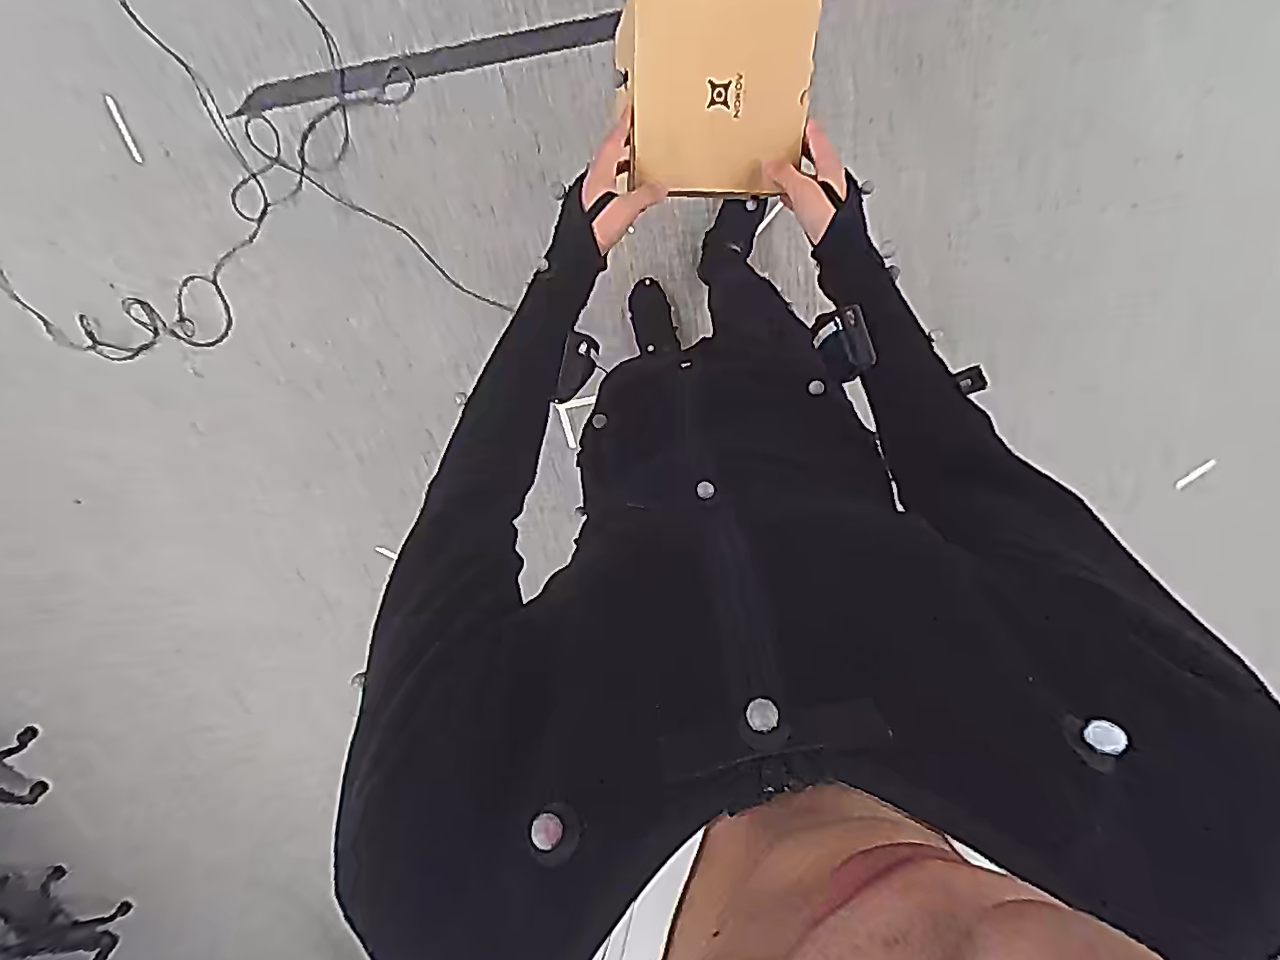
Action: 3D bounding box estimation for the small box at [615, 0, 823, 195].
[{"bbox_3d":[0.067,-0.402,0.579,0.179,0.176,0.168,-4,117,-9],"label":"small box"}]
